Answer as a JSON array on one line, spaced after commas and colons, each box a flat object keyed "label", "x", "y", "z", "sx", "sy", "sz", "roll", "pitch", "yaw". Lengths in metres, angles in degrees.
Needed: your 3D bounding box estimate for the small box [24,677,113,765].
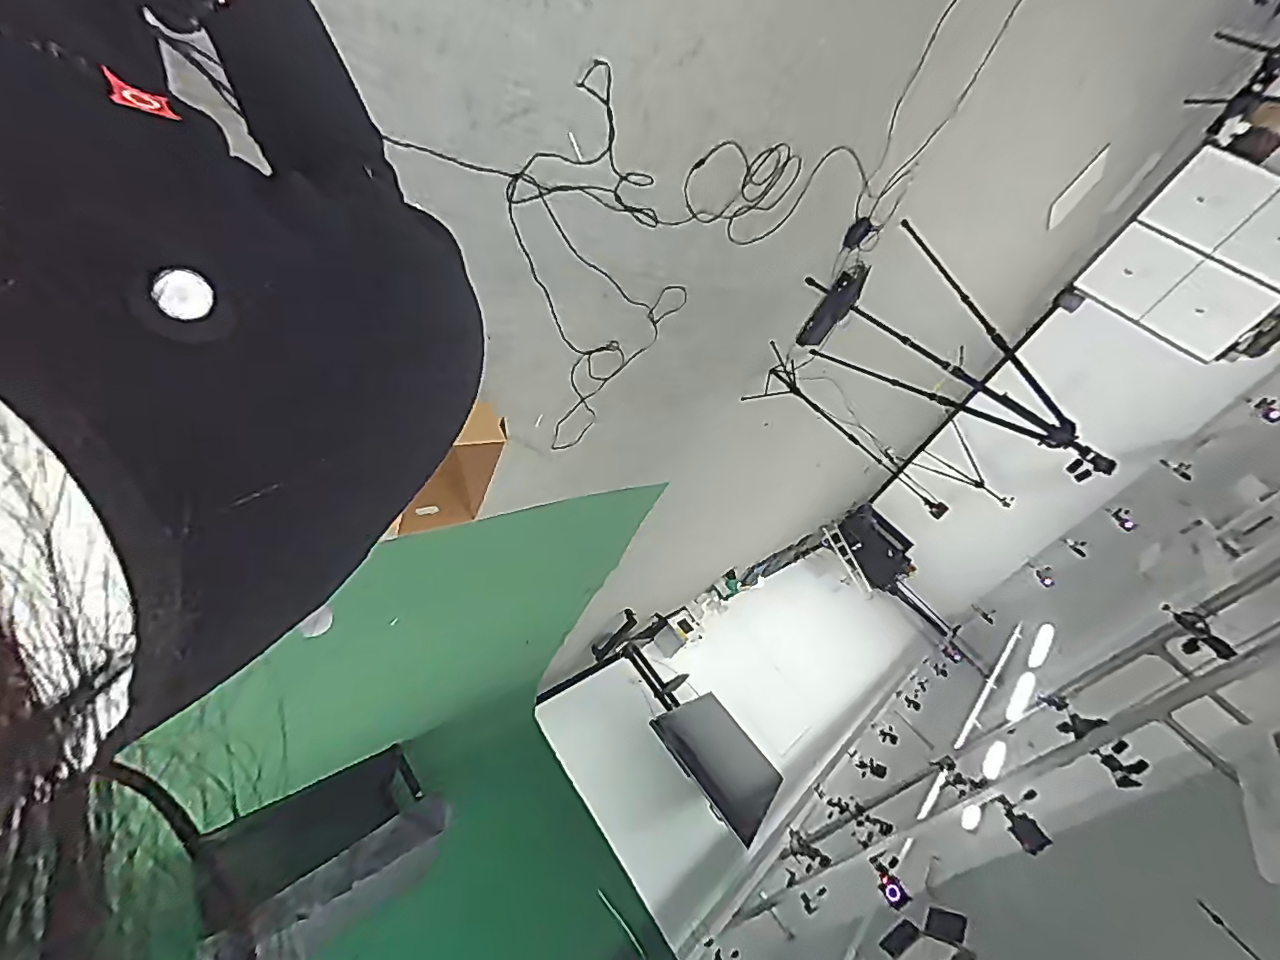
[{"label": "small box", "x": -1.902, "y": 0.797, "z": 1.799, "sx": 0.179, "sy": 0.176, "sz": 0.168, "roll": -16, "pitch": 145, "yaw": -45}]
